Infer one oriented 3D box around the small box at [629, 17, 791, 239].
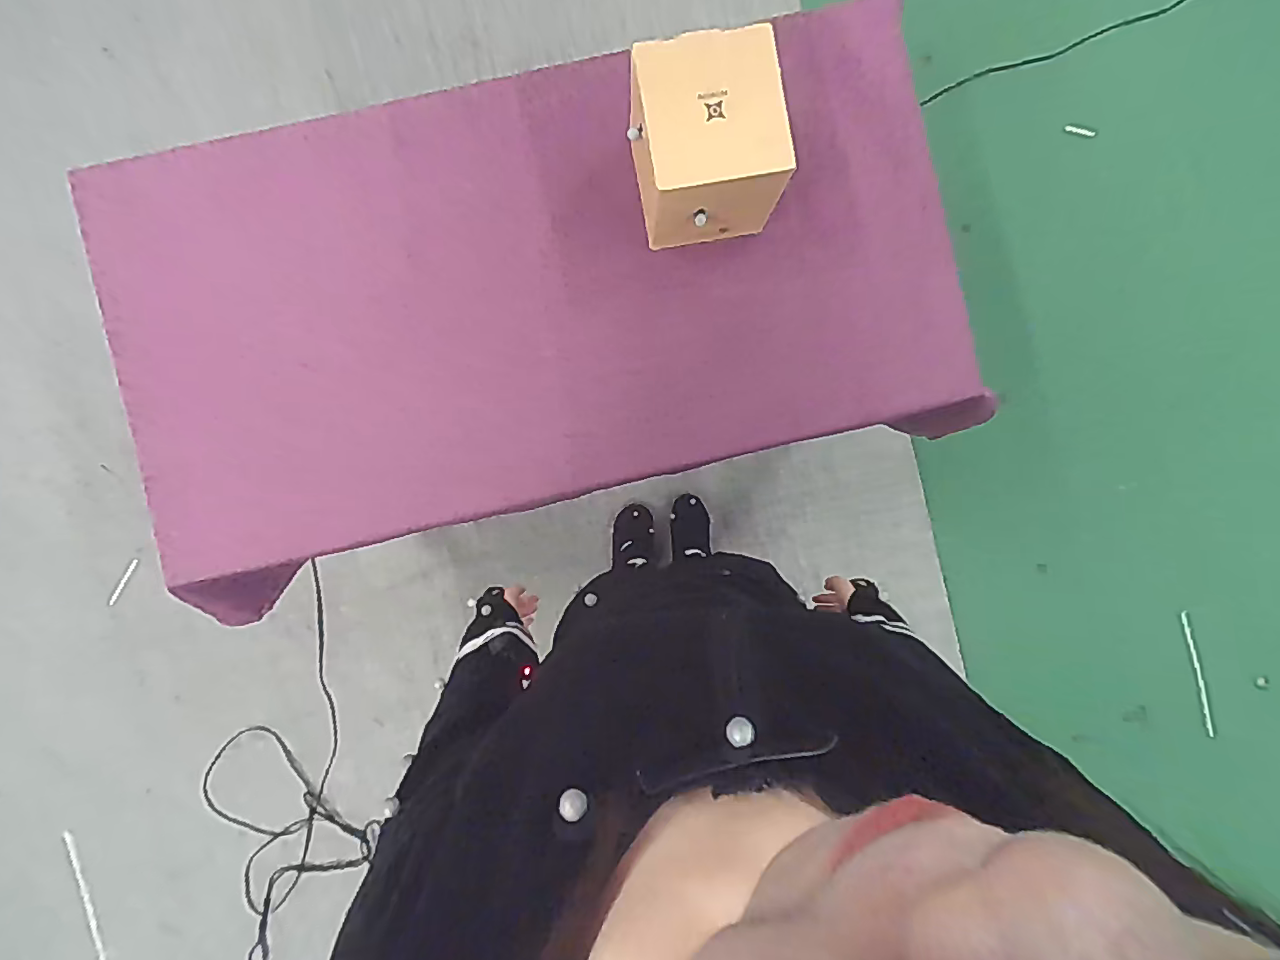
[{"bbox_3d":[0.081,-0.433,0.700,0.168,0.176,0.179,-10,90,-1],"label":"small box"}]
